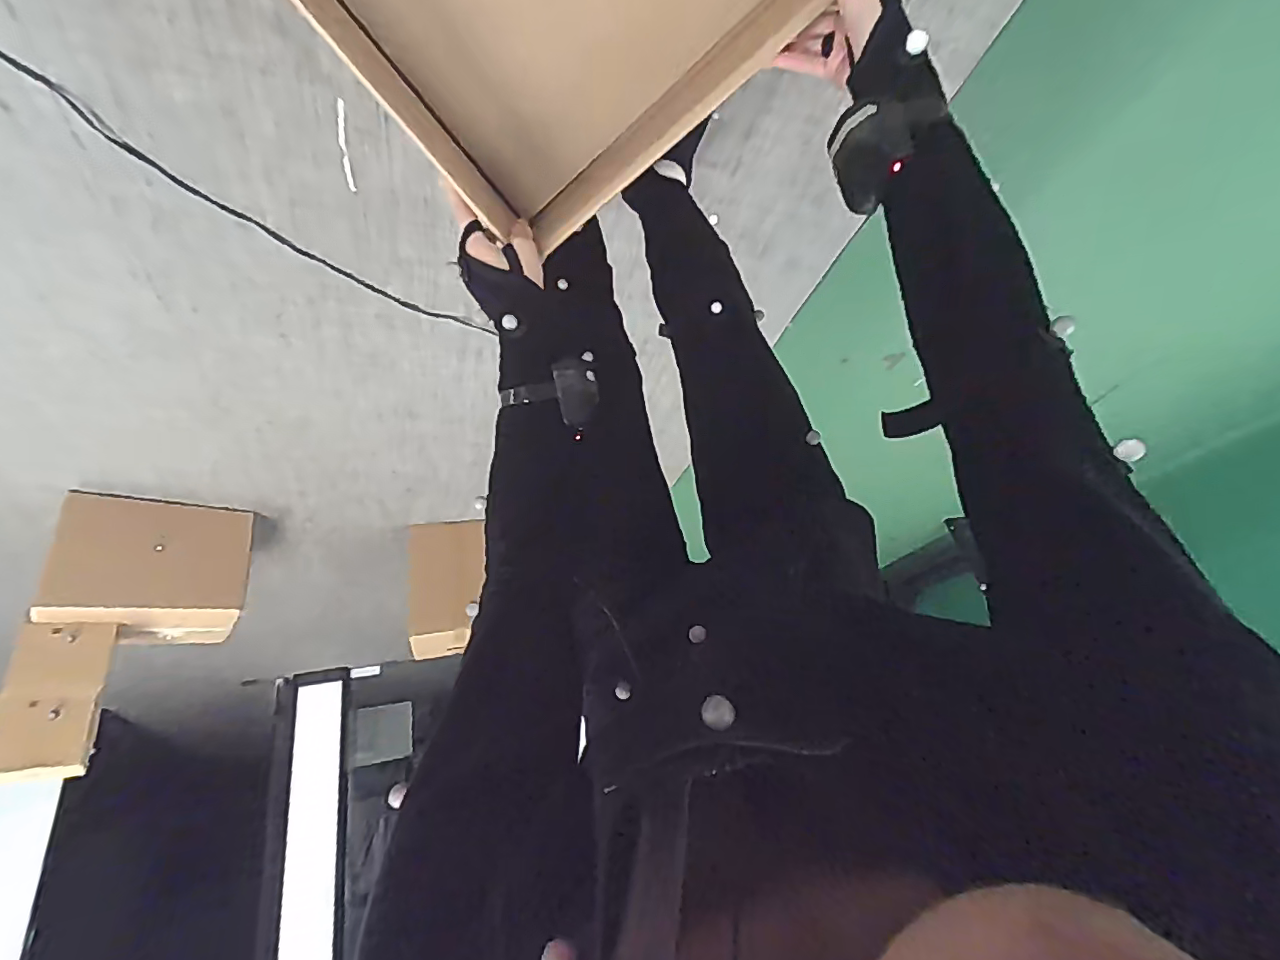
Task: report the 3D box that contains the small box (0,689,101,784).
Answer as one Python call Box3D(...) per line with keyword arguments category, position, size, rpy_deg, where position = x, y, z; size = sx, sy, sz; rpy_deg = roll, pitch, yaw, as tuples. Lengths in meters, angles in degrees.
Box3D(category="small box", position=(-1.395, 0.597, 1.263), size=(0.168, 0.176, 0.179), rpy_deg=(11, 143, -38))
